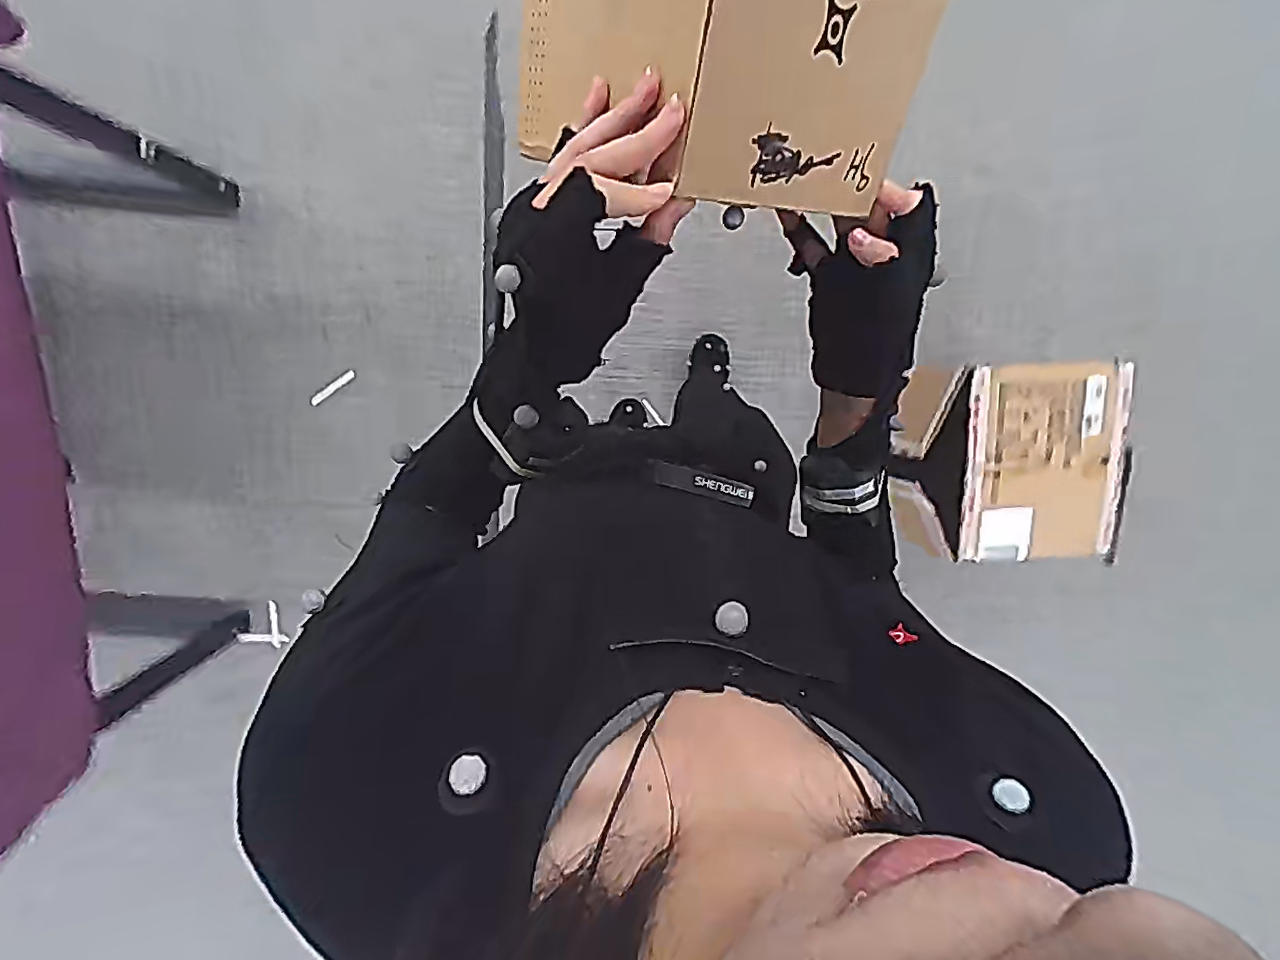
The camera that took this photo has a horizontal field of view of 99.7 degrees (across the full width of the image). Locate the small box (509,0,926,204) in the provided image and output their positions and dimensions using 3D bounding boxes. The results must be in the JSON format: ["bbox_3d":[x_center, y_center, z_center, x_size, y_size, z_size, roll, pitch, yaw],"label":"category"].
[{"bbox_3d":[0.037,-0.265,0.300,0.168,0.176,0.179,-15,127,-34],"label":"small box"}]
